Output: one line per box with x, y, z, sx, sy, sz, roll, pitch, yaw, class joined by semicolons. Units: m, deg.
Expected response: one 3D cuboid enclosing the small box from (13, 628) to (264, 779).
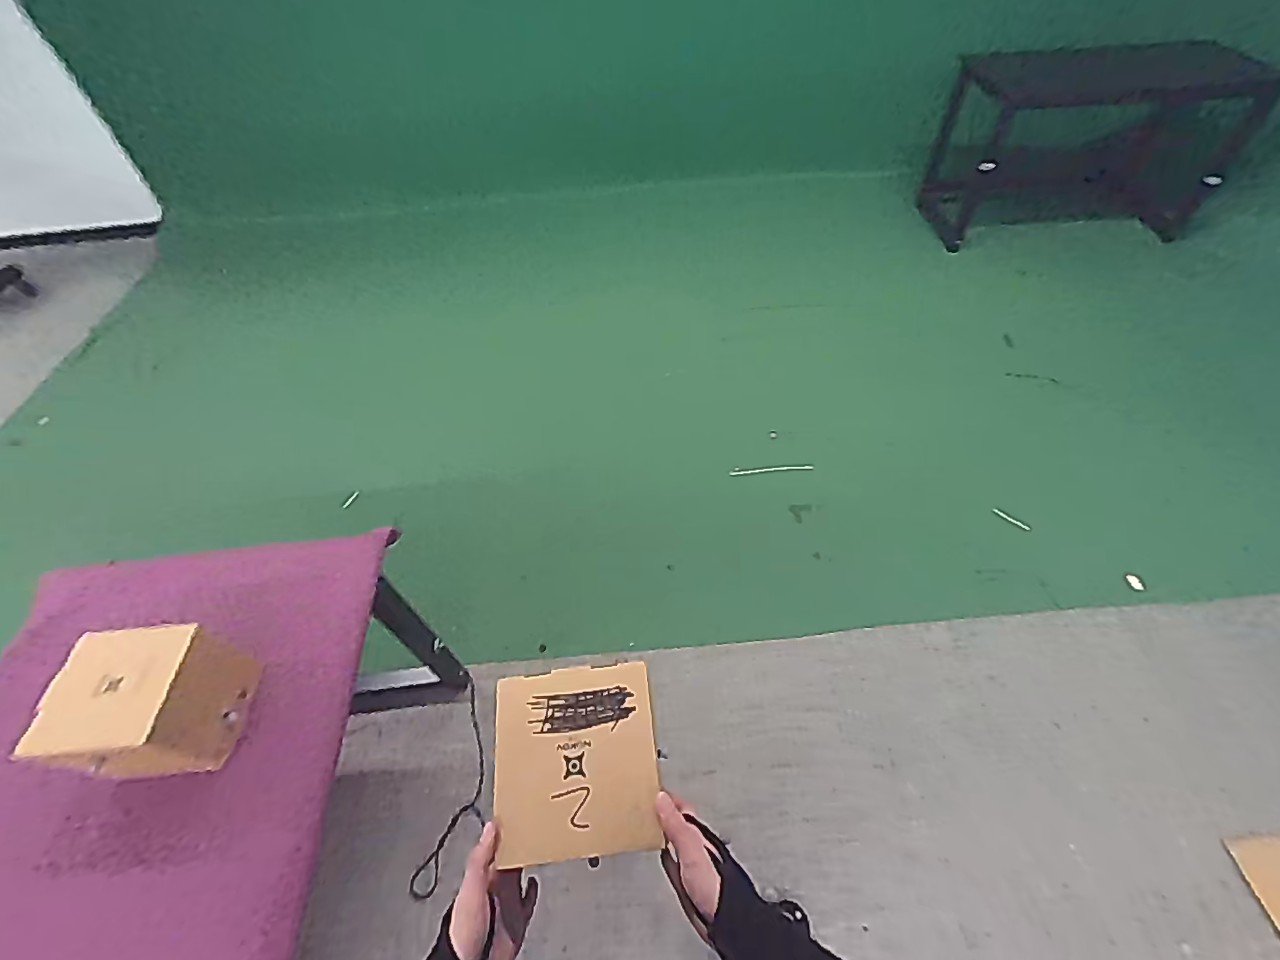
-0.718;0.335;0.802;0.179;0.176;0.168;-5;53;1;small box
